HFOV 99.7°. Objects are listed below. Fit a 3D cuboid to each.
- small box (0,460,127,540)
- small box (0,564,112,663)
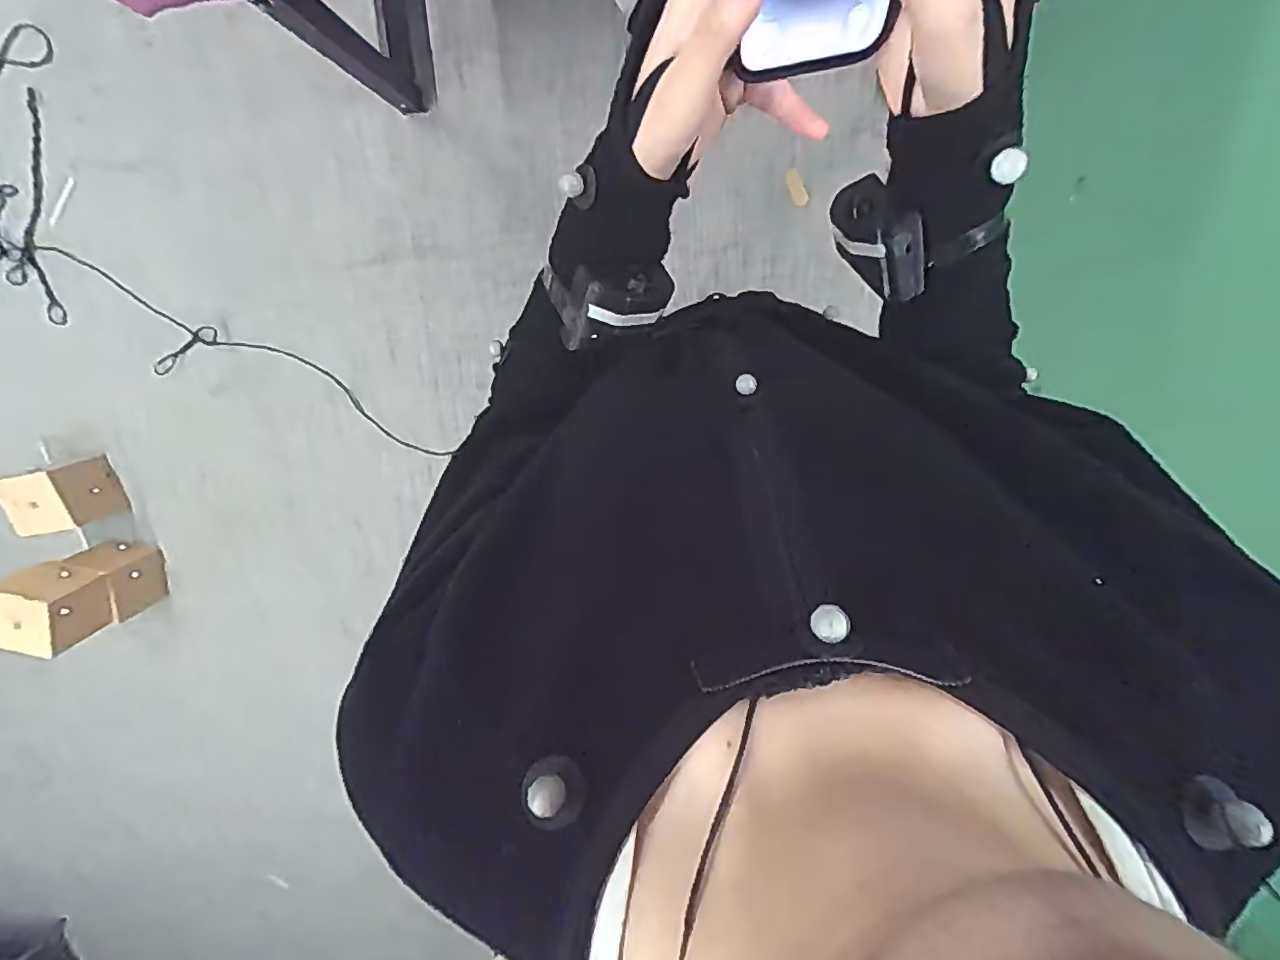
[{"bbox_3d":[-1.615,0.051,1.524,0.179,0.176,0.168,-9,108,5],"label":"small box"},{"bbox_3d":[-1.578,0.354,1.454,0.168,0.176,0.179,14,107,-2],"label":"small box"}]
